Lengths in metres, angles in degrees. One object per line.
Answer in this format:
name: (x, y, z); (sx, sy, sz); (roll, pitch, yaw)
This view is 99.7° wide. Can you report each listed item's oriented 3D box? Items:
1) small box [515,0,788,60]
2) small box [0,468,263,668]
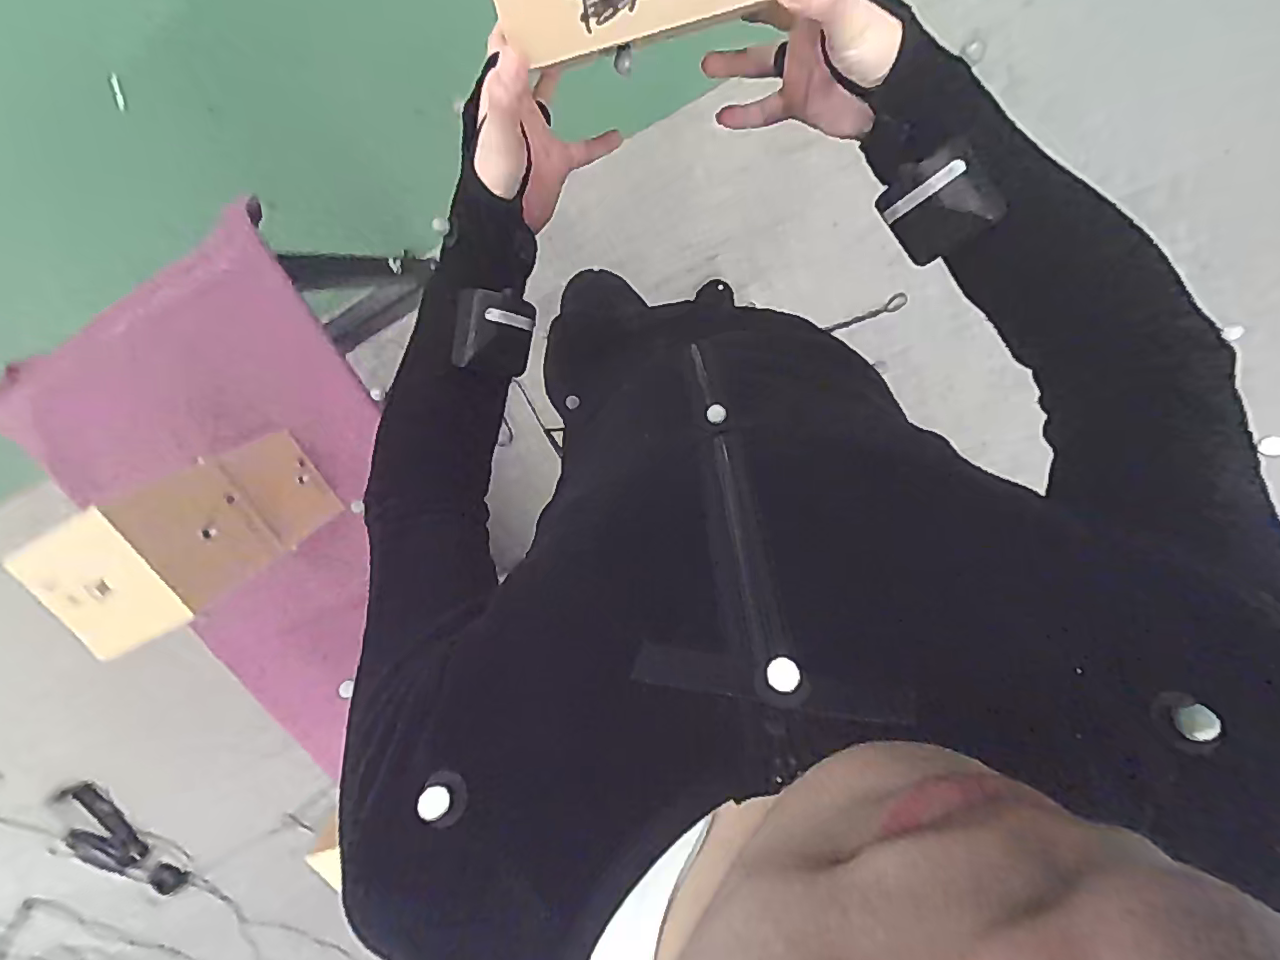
small box: (0.001, -0.370, 0.313); (0.168, 0.176, 0.179); (-8, 127, 8)
small box: (-0.647, 0.106, 0.711); (0.179, 0.176, 0.168); (-24, 108, 13)
